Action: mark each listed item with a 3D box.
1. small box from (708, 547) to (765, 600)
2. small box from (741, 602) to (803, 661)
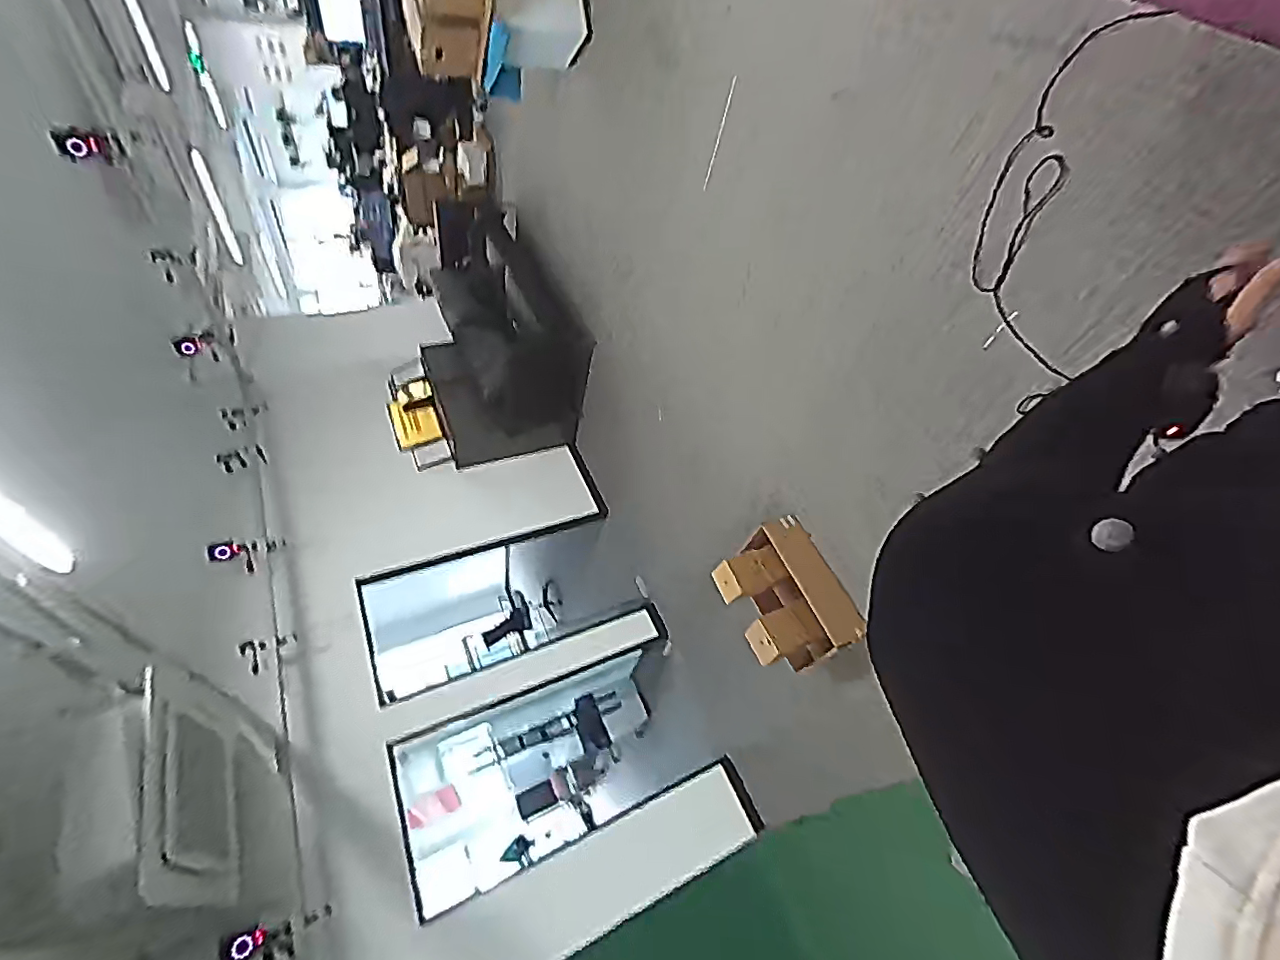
[{"bbox_3d":[0.447,0.431,2.498,0.168,0.176,0.179,64,152,23],"label":"small box"},{"bbox_3d":[0.576,0.661,2.354,0.168,0.176,0.179,60,152,29],"label":"small box"}]
